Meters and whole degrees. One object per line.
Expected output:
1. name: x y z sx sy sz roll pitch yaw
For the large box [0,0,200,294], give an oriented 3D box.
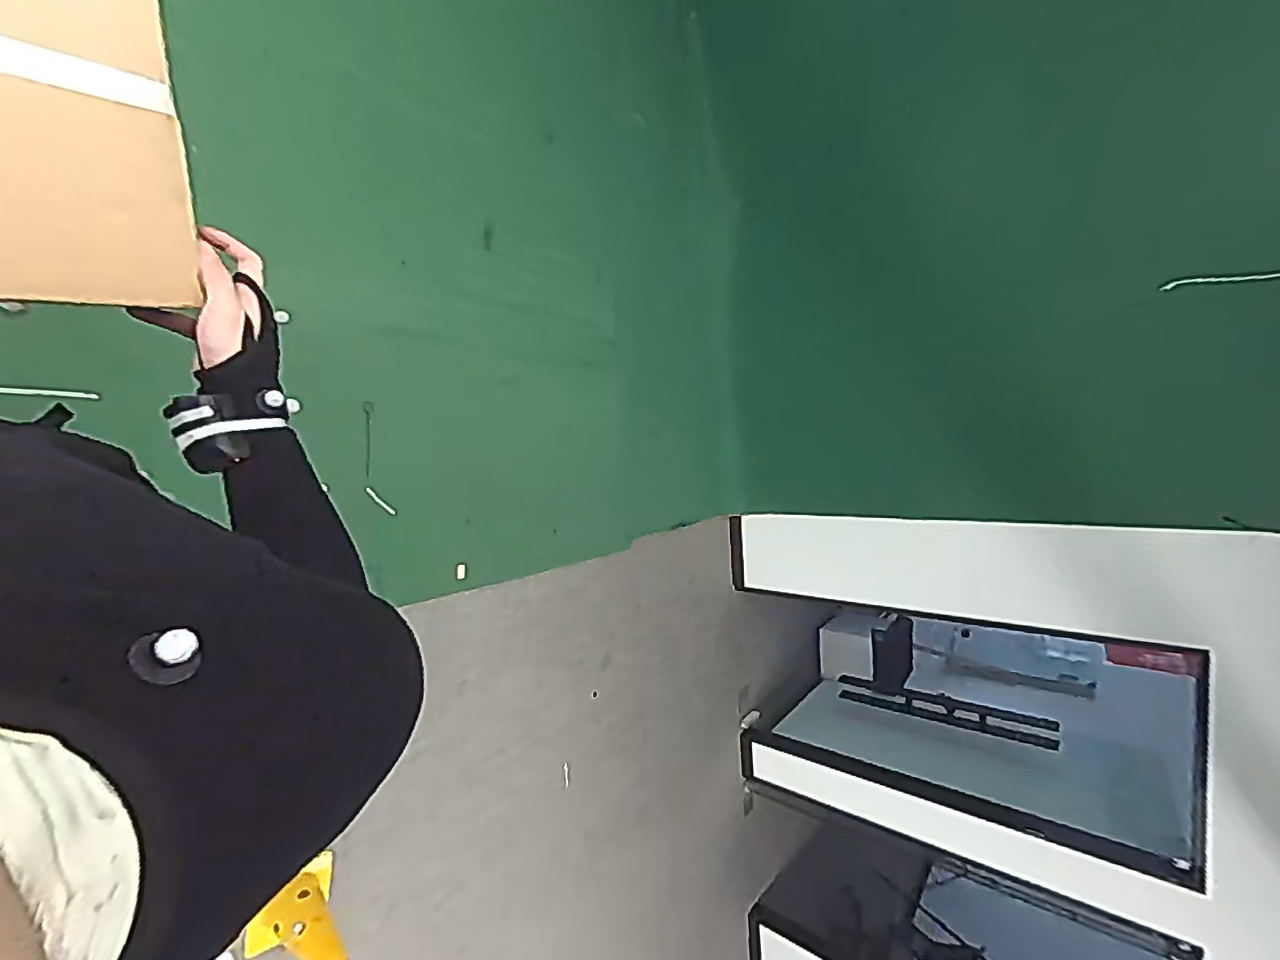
1. large box: -0.619 -0.305 0.373 0.408 0.320 0.320 -16 117 -49
